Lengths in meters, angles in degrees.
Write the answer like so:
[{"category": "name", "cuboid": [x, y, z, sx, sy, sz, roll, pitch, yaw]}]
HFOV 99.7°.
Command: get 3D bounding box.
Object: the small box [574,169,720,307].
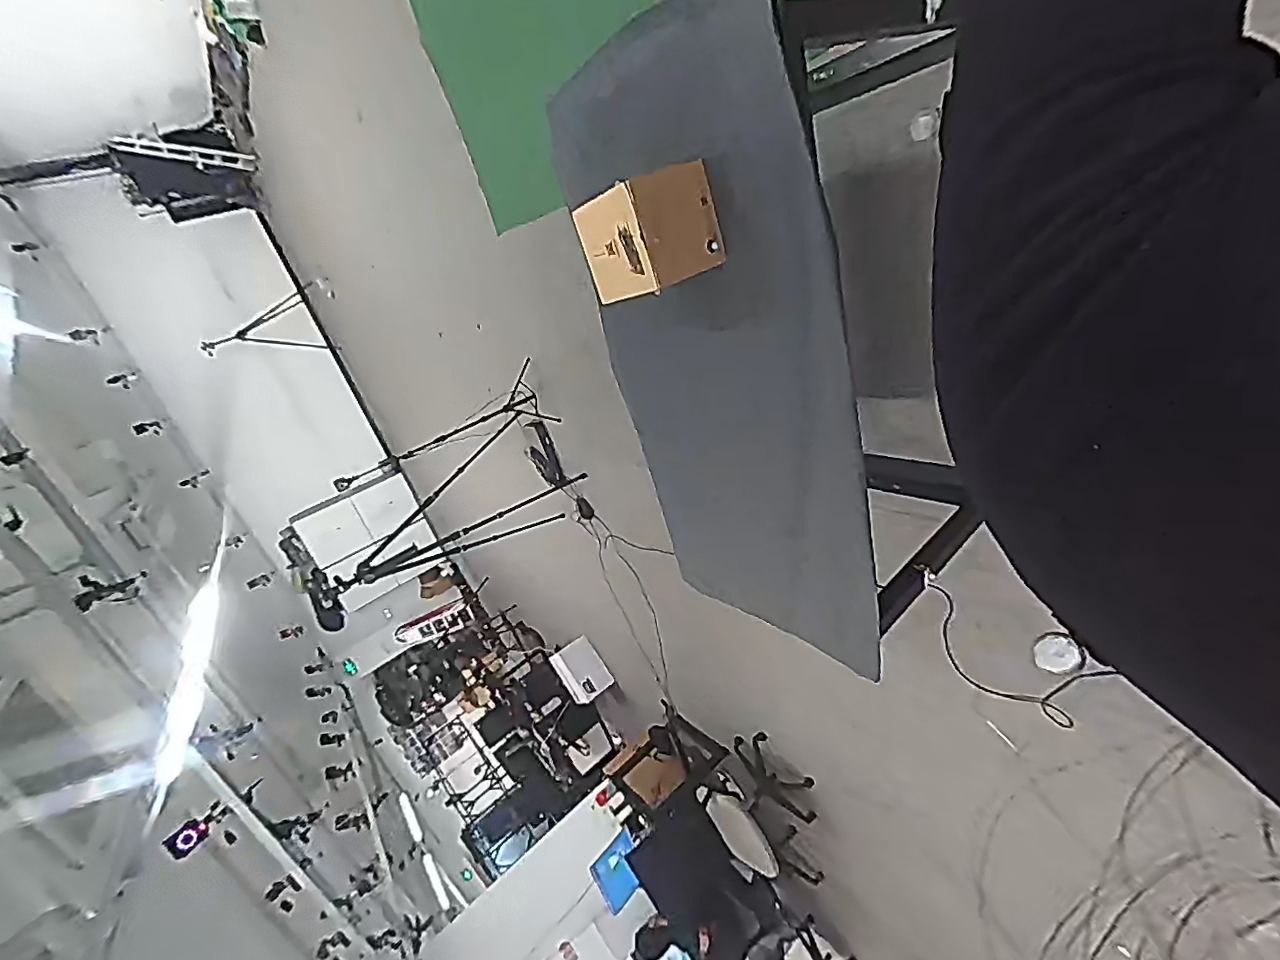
[{"category": "small box", "cuboid": [0.019, -0.420, 0.947, 0.179, 0.176, 0.168, 12, 127, 54]}]
